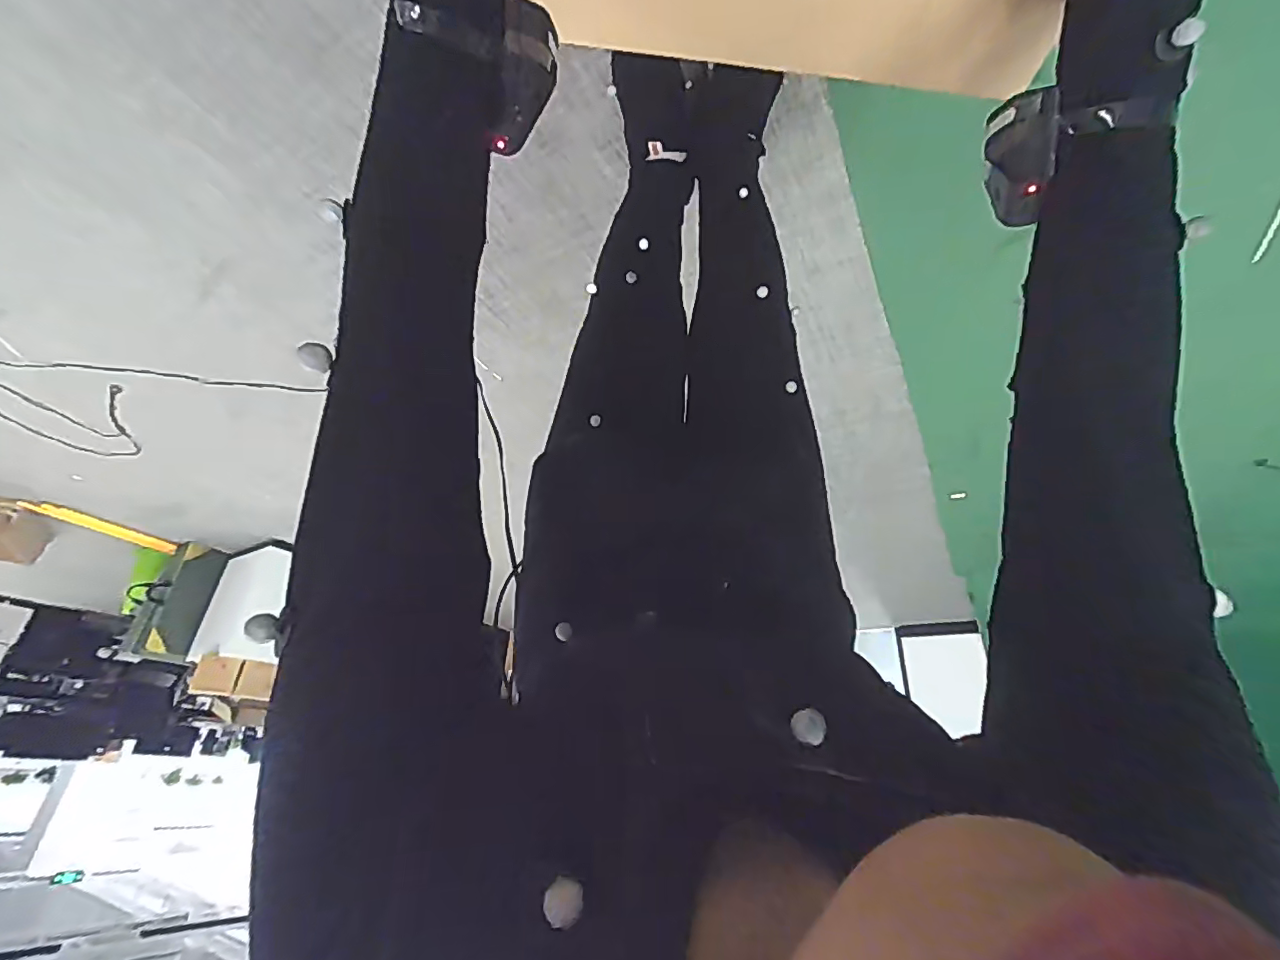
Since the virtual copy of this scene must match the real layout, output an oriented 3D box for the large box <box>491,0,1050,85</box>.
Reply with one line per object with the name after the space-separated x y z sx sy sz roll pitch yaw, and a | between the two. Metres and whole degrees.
0.109 -0.530 0.357 0.408 0.320 0.320 6 150 -2 | large box
